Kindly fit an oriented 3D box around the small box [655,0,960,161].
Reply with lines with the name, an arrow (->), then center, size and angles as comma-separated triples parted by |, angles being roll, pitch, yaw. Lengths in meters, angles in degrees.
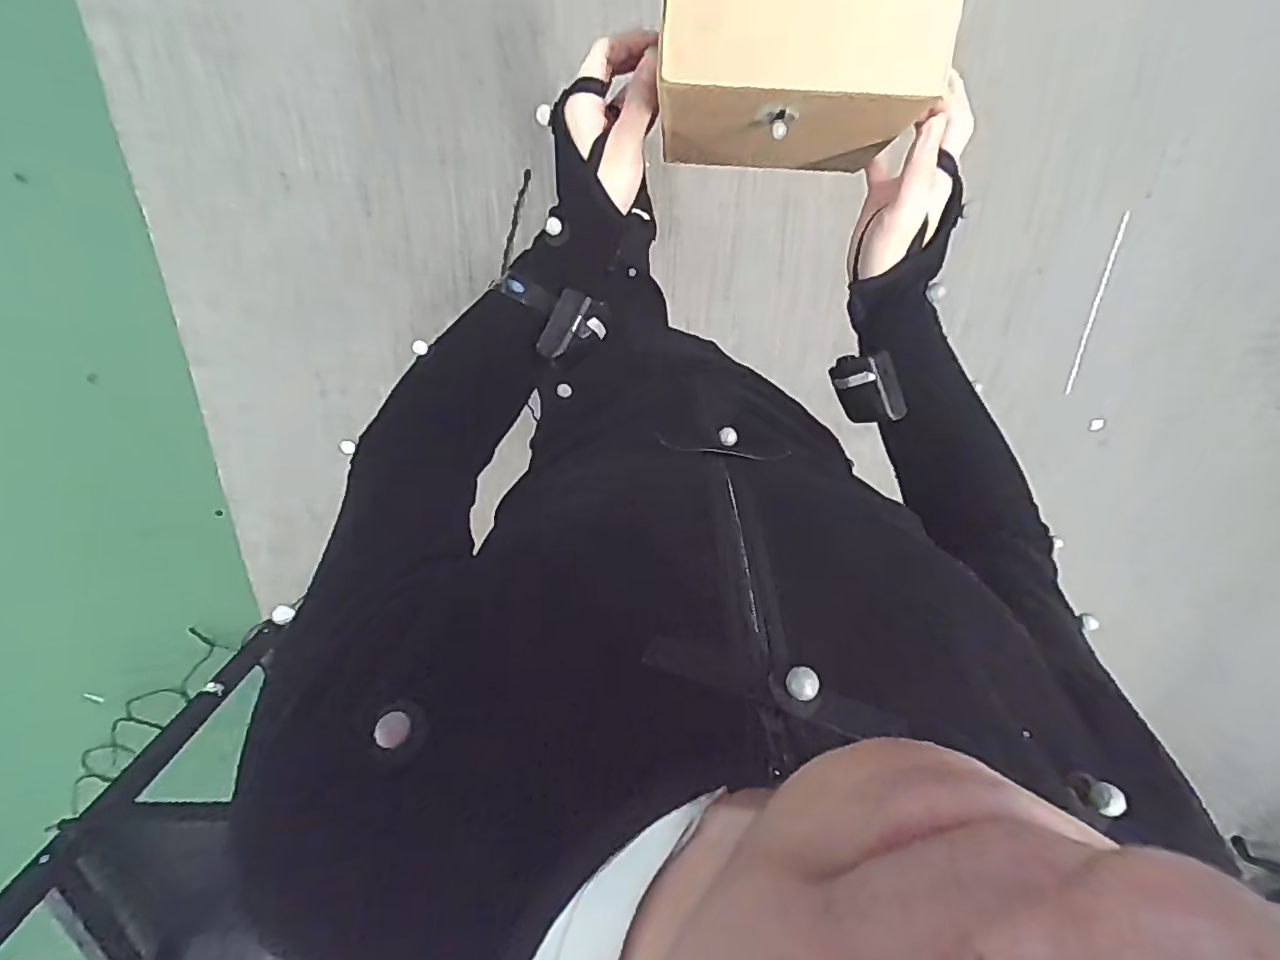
small box -> 0.107, -0.344, 0.381 | 0.179, 0.176, 0.168 | 5, 105, 2
